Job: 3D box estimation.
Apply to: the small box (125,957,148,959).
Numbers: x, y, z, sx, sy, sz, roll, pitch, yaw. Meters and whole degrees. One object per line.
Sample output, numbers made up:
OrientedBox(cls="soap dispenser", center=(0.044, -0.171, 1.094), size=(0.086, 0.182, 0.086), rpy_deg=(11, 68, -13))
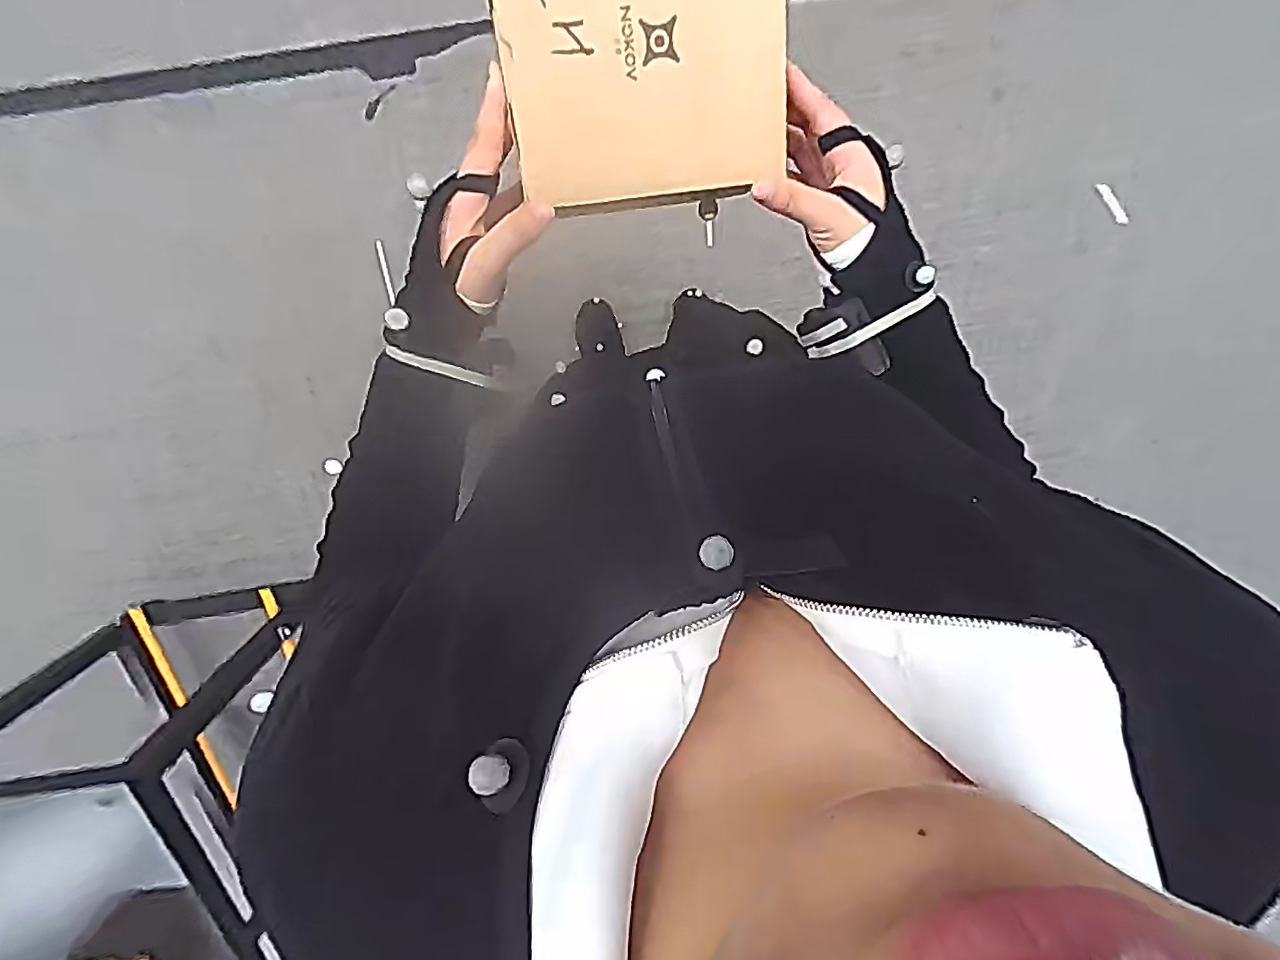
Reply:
OrientedBox(cls="small box", center=(-1.028, 1.031, 0.996), size=(0.179, 0.176, 0.168), rpy_deg=(-7, 111, -1))

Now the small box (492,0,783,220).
OrientedBox(cls="small box", center=(-0.007, -0.294, 0.402), size=(0.179, 0.176, 0.168), rpy_deg=(-8, 114, -4))
